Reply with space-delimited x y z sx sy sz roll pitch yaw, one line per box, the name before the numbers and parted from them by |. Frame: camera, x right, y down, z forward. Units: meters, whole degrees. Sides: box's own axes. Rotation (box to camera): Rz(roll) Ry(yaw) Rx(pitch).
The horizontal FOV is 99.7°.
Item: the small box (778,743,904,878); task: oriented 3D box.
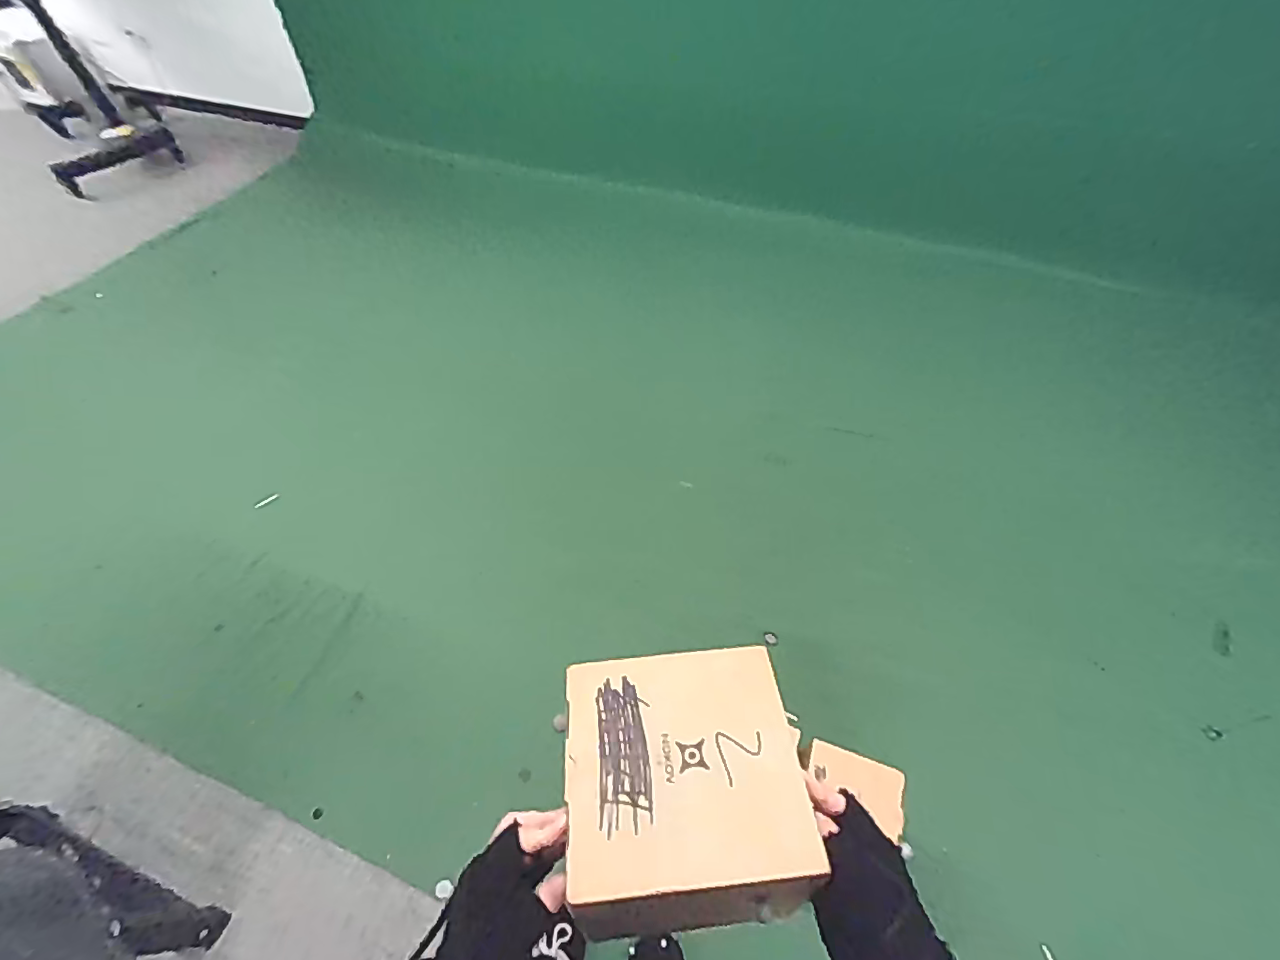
small box | 0.389 0.647 1.060 0.179 0.176 0.168 18 55 13
